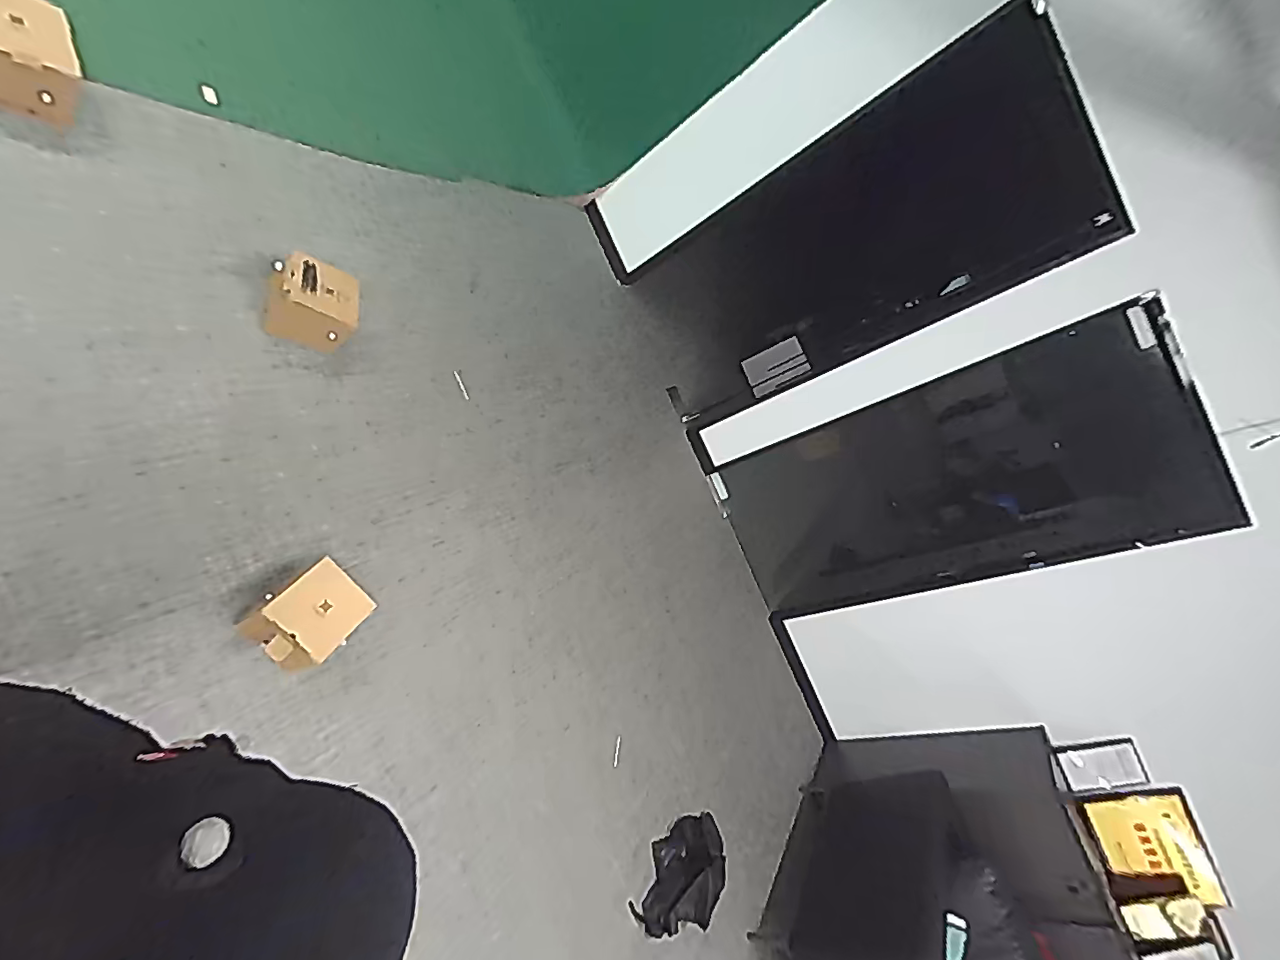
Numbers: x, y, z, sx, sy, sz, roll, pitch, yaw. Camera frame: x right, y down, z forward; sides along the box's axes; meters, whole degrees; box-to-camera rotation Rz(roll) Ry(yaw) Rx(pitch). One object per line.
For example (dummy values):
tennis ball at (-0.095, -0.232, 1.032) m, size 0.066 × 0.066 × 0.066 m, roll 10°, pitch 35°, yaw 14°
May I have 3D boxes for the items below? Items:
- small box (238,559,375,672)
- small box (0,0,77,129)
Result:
small box at (-0.760, 0.310, 1.234) m, size 0.168 × 0.176 × 0.179 m, roll 55°, pitch 36°, yaw -19°
small box at (-1.335, -0.893, 1.138) m, size 0.168 × 0.176 × 0.179 m, roll -12°, pitch 81°, yaw -58°
